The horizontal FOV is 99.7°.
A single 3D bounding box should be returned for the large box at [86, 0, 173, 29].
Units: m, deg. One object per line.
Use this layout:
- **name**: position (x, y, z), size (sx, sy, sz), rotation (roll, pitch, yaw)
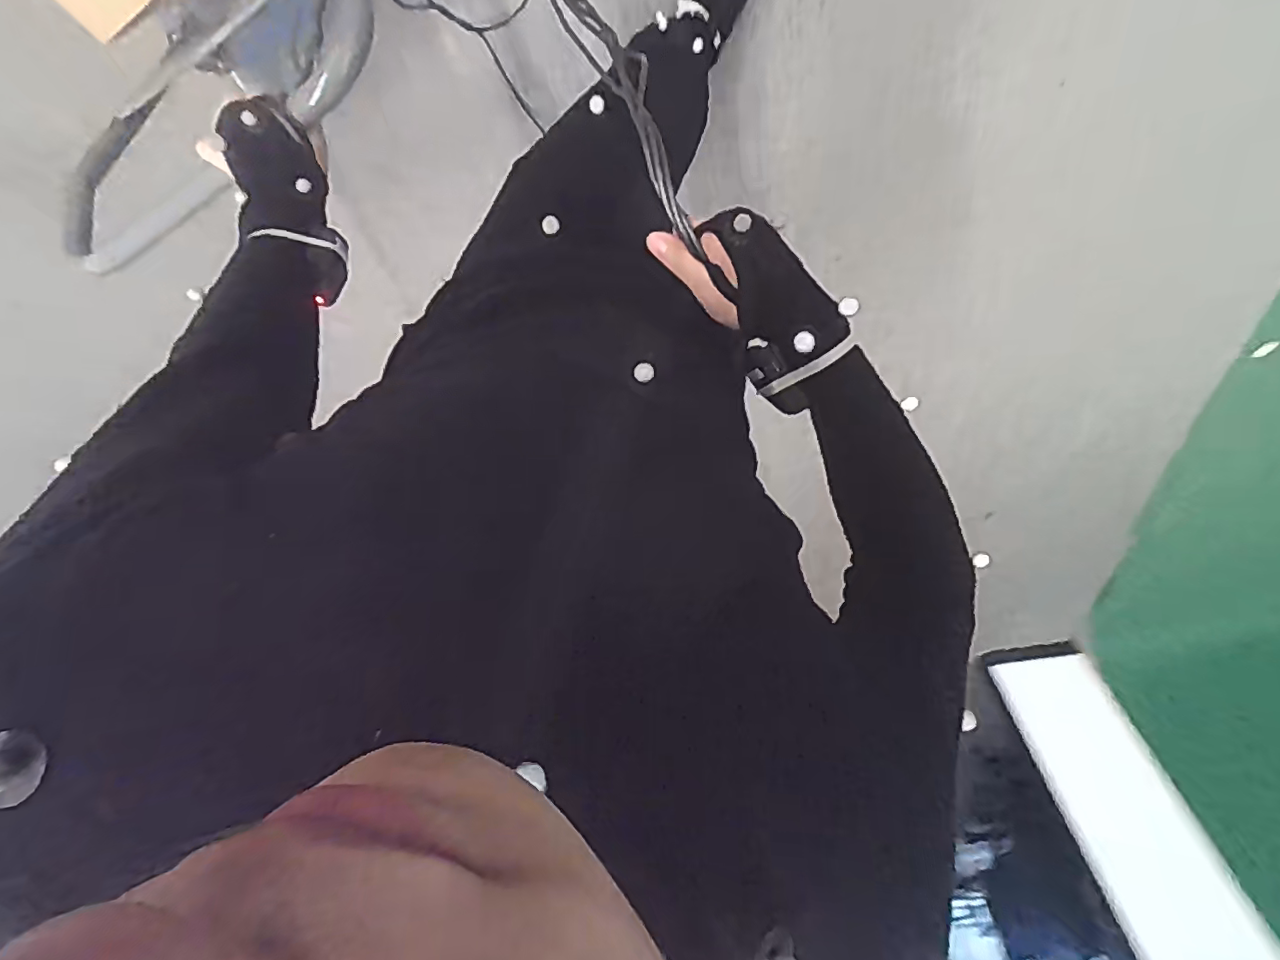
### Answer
- **large box**: position (-0.698, -0.895, 0.651), size (0.320, 0.320, 0.408), rotation (-21, 142, 18)
